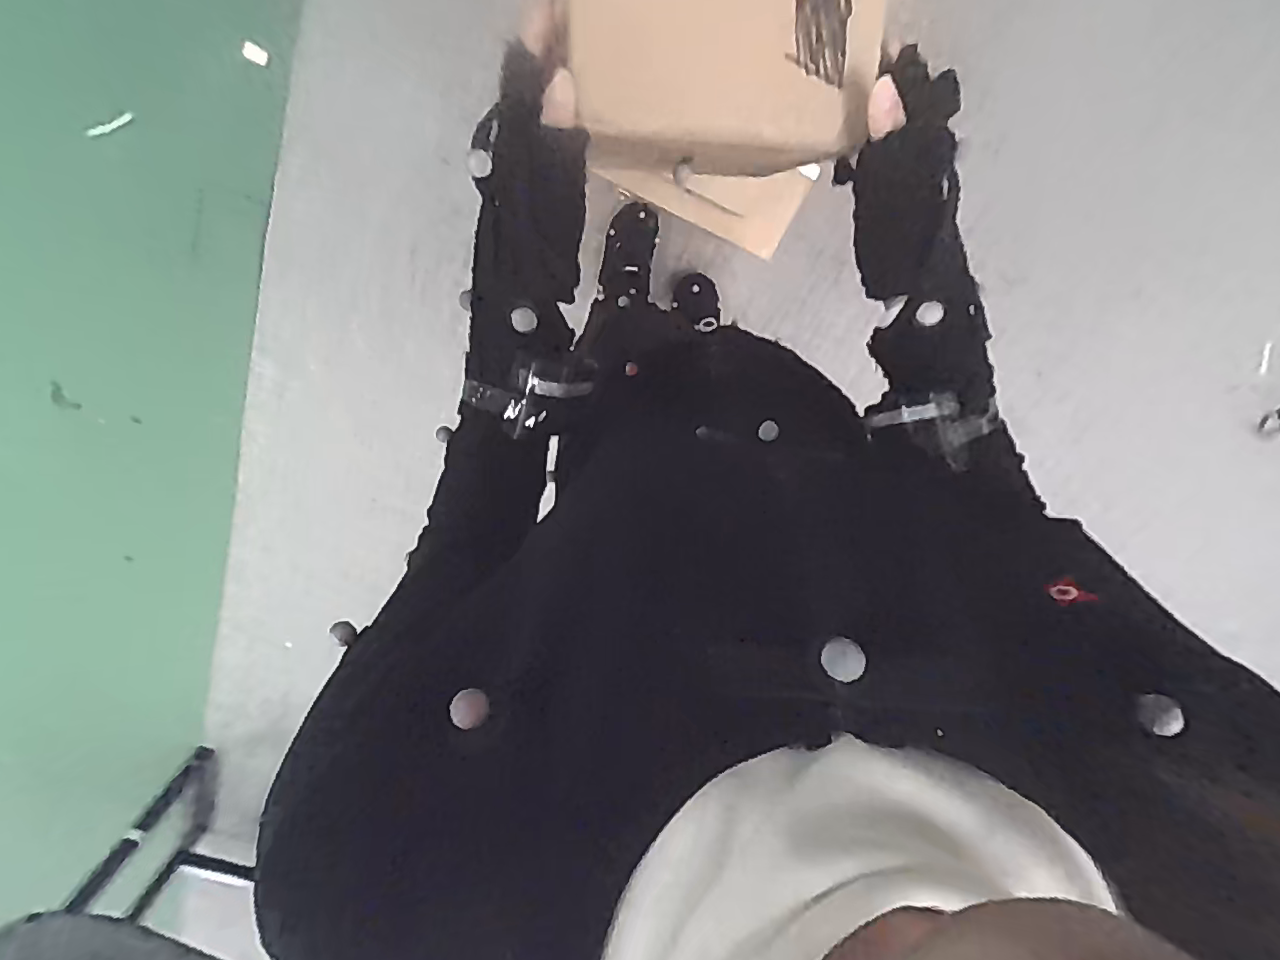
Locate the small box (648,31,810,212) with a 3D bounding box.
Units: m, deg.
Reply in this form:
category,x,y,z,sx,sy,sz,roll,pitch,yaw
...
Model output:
category,x,y,z,sx,sy,sz,roll,pitch,yaw
small box,0.124,-0.526,0.822,0.179,0.176,0.168,21,117,-9
